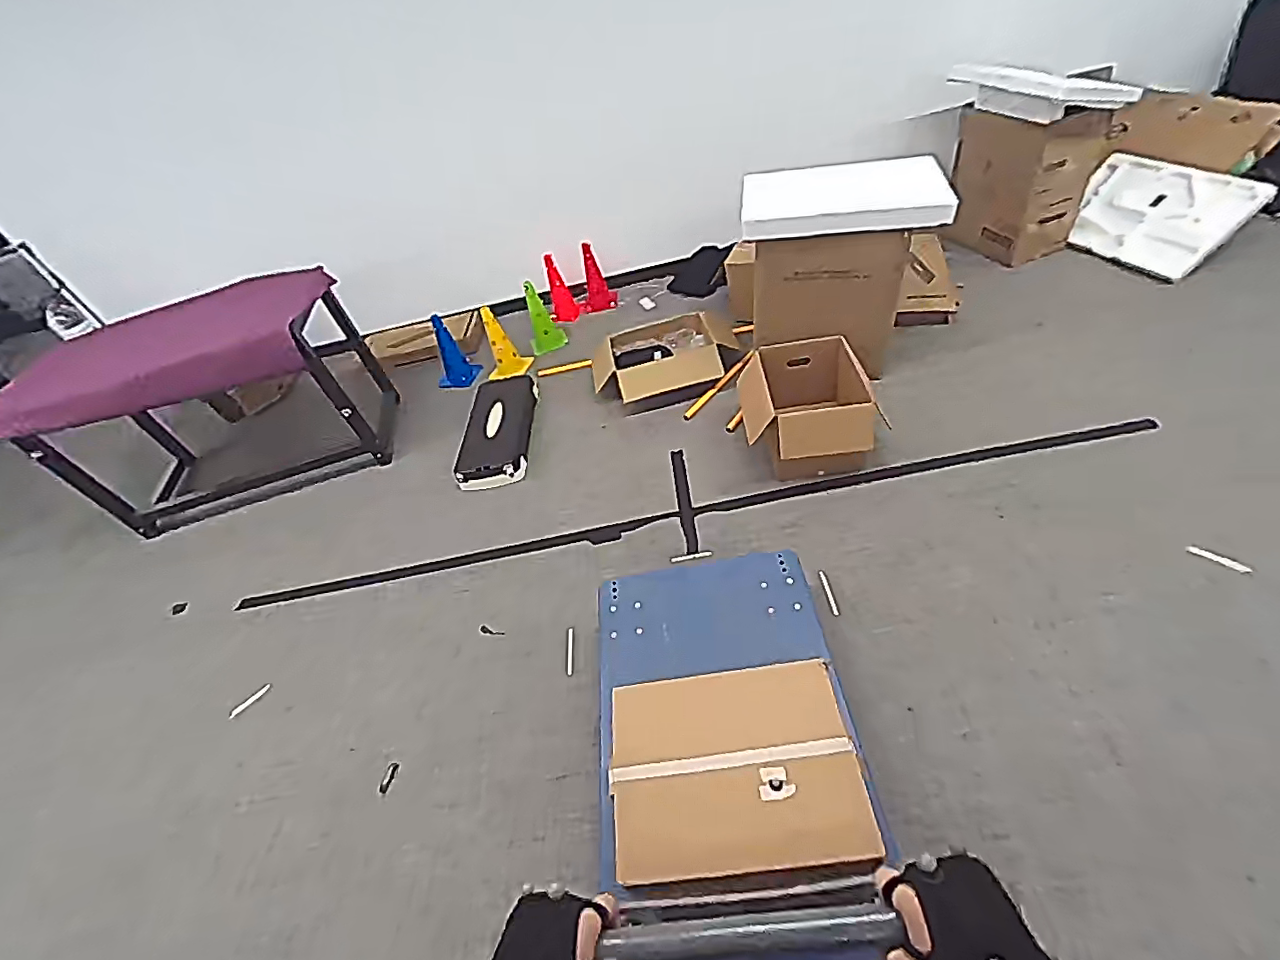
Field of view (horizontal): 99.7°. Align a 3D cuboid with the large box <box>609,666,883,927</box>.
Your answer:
[{"bbox_3d":[0.172,0.588,1.000,0.408,0.320,0.320,-10,44,4],"label":"large box"}]
